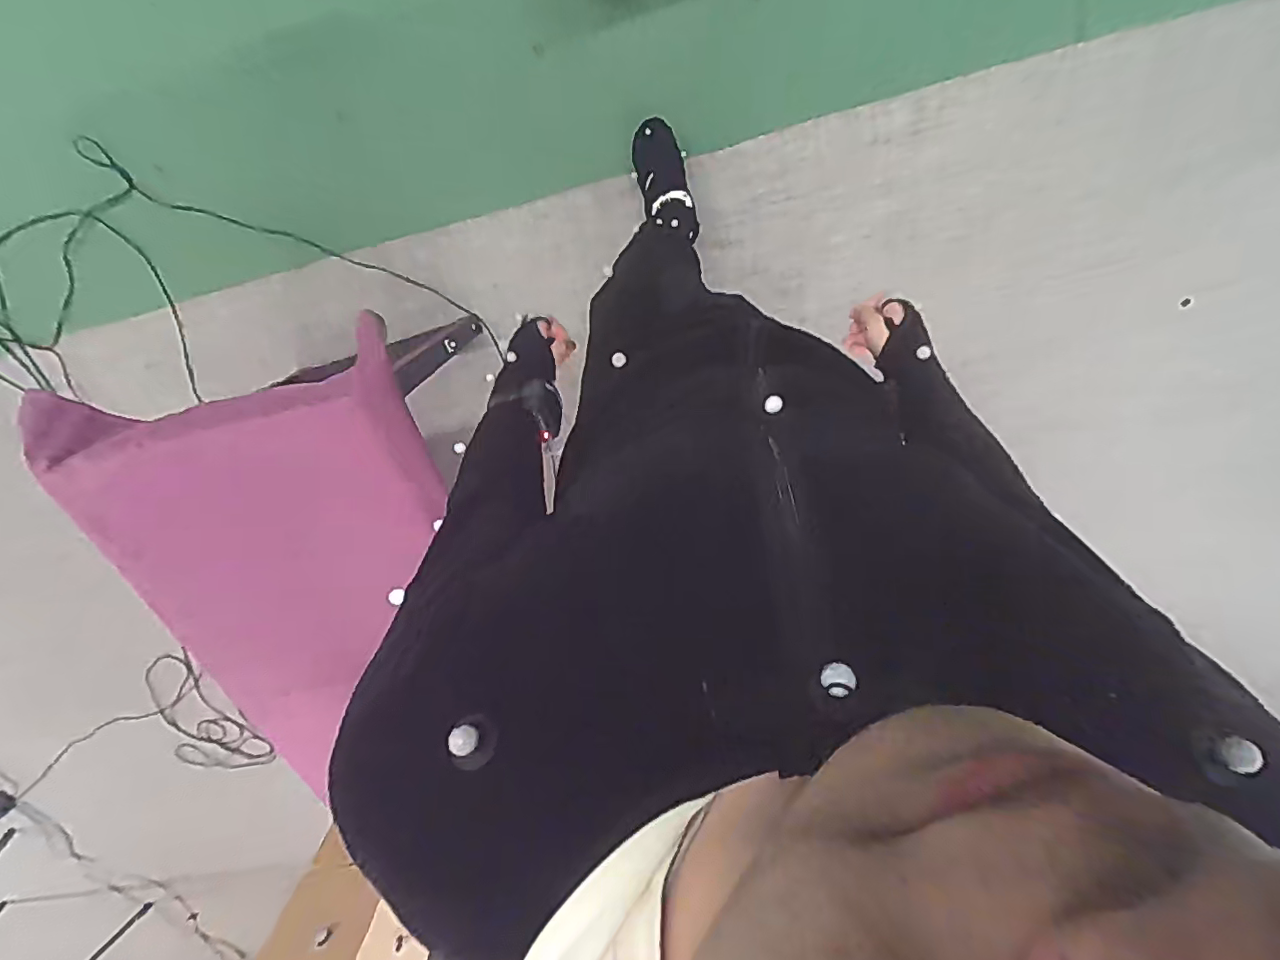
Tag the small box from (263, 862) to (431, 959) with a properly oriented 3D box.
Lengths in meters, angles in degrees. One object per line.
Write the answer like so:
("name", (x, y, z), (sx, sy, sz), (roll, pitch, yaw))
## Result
("small box", (-0.444, 0.717, 0.824), (0.179, 0.176, 0.168), (-14, 115, 9))
